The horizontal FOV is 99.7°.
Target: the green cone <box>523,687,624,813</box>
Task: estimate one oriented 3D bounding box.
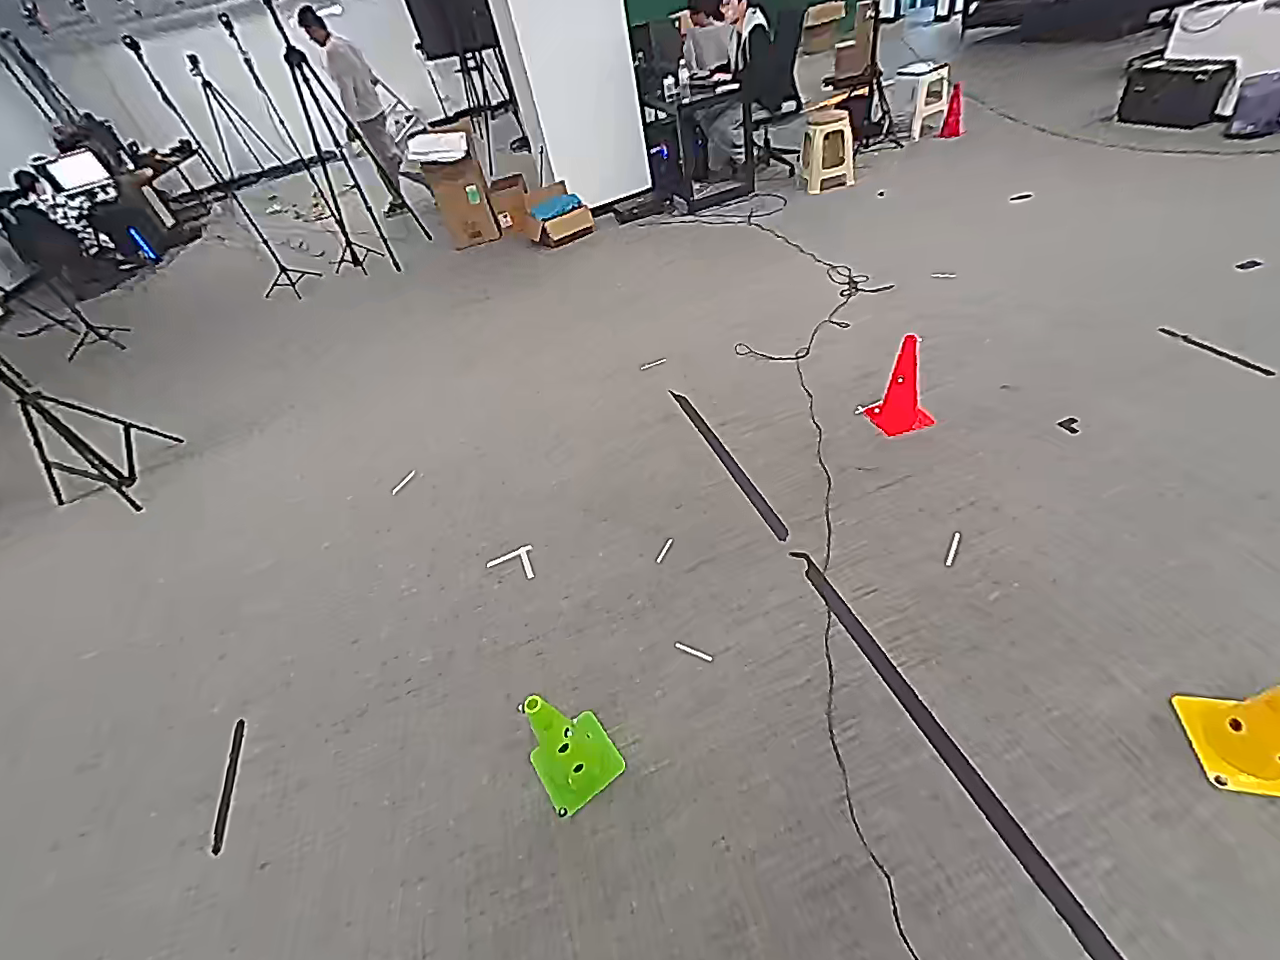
[{"bbox_3d":[-0.199,0.605,1.304,0.200,0.368,0.202,-32,44,-19],"label":"green cone"}]

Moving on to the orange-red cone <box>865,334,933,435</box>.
[{"bbox_3d":[0.982,-0.375,2.009,0.198,0.360,0.199,-17,43,-1],"label":"orange-red cone"}]
